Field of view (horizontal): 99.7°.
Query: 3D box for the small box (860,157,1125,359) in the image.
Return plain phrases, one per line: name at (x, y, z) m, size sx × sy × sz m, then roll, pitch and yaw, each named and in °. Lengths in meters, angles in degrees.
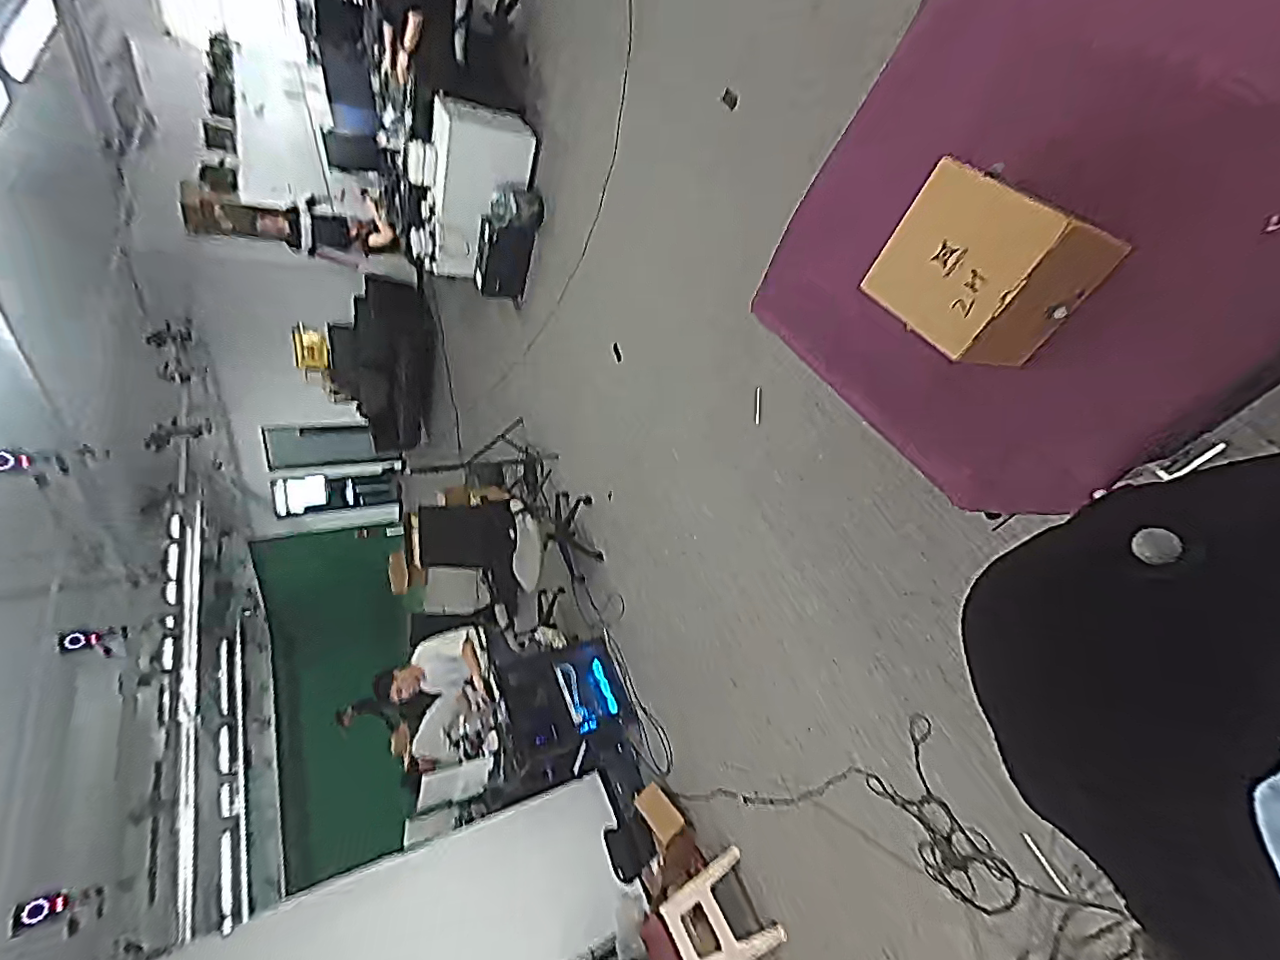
small box at (0.421, -0.259, 0.661) m, size 0.179 × 0.176 × 0.168 m, roll 59°, pitch 140°, yaw 34°
